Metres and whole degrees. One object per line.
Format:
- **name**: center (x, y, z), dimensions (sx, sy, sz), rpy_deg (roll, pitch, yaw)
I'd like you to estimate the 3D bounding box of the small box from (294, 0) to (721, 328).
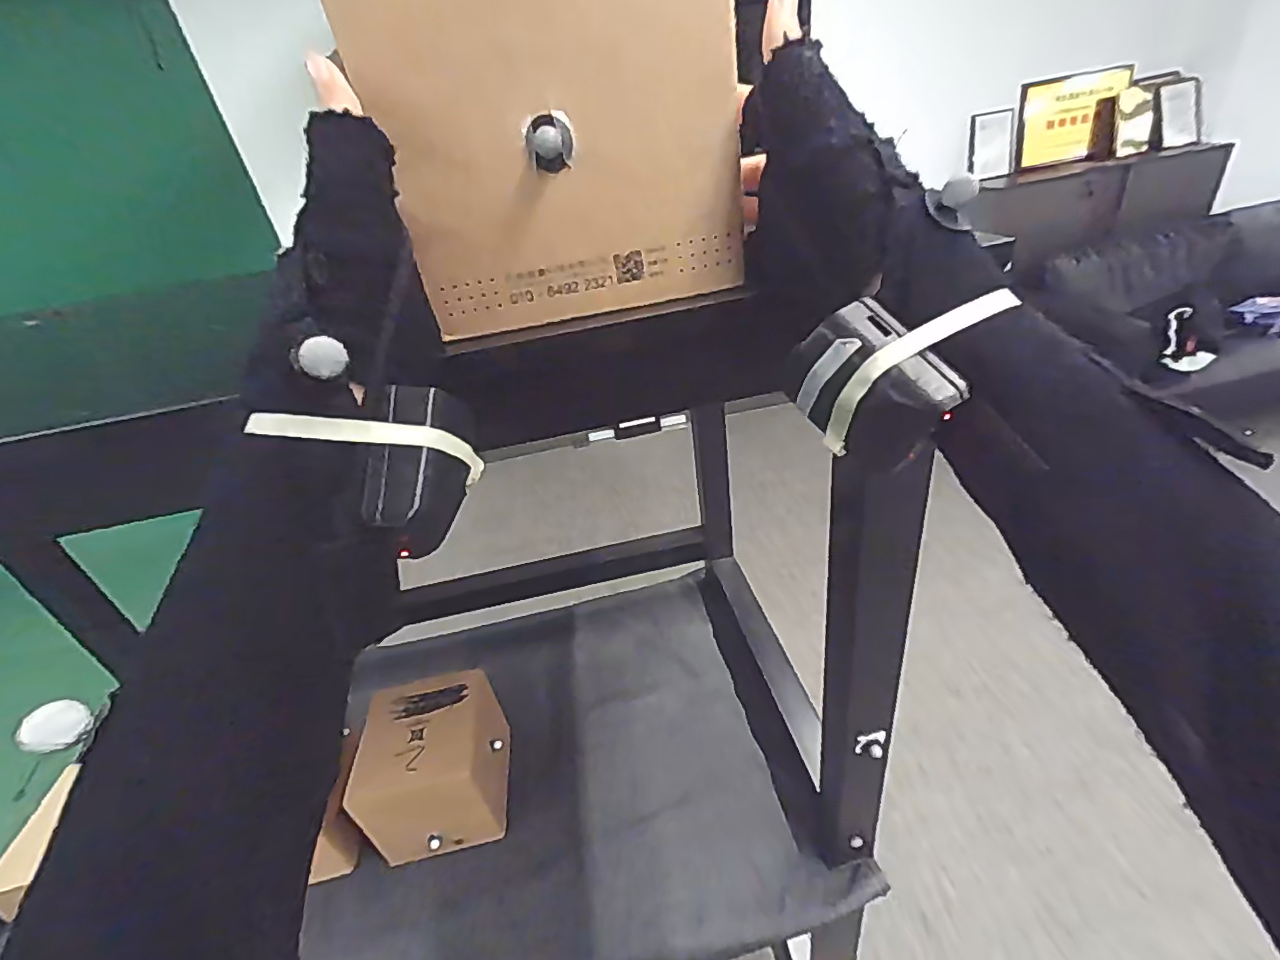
- **small box**: center (-0.054, -0.197, 0.316), dimensions (0.168, 0.176, 0.179), rpy_deg (-11, 31, -1)
